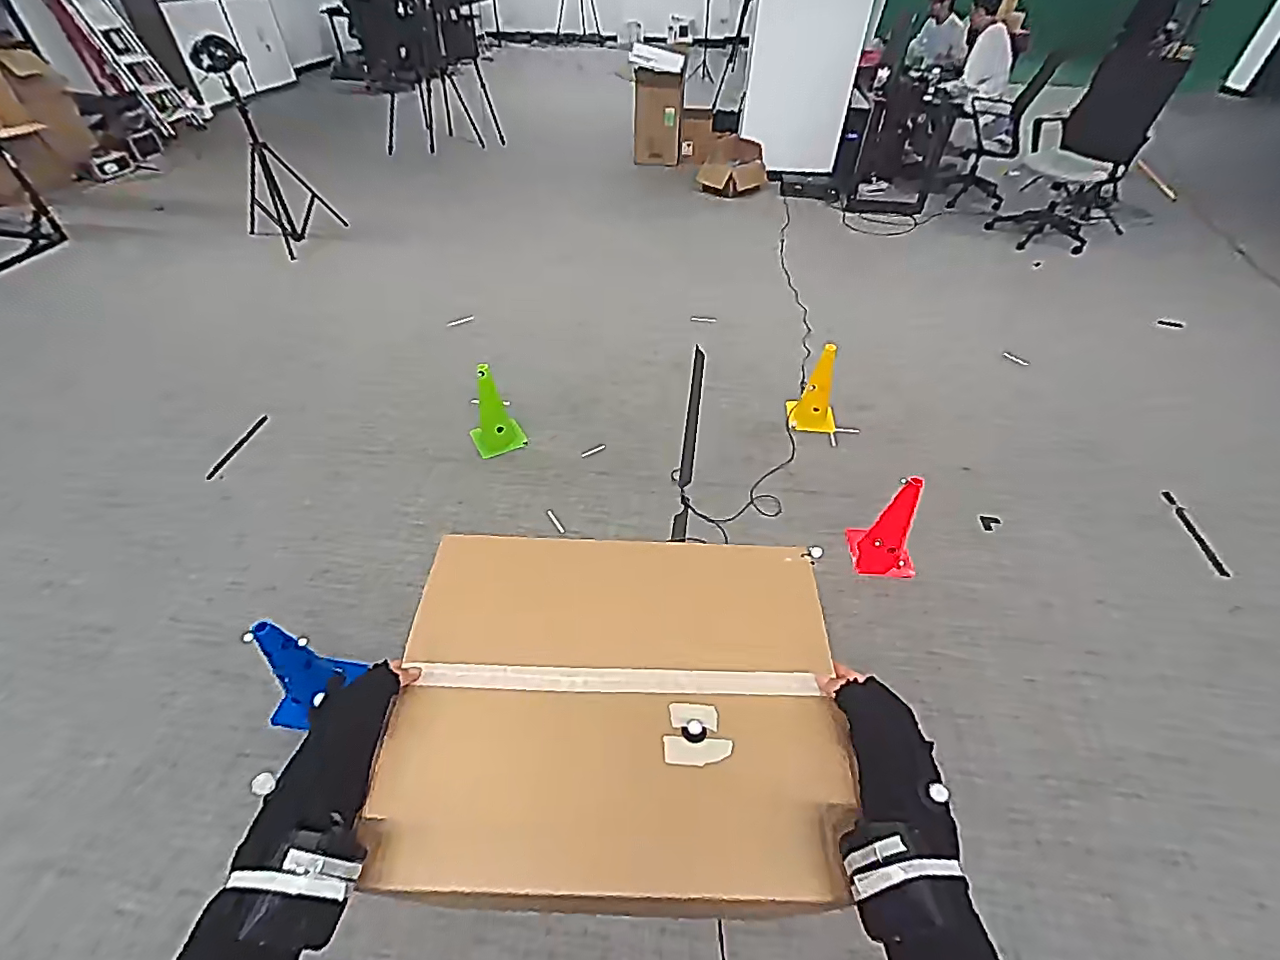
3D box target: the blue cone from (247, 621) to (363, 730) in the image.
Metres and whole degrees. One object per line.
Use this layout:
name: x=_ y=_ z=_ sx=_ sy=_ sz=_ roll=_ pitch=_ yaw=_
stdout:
blue cone: x=-0.889 y=0.475 z=1.390 sx=0.192 sy=0.380 sz=0.193 roll=7 pitch=45 yaw=8

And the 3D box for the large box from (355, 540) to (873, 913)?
large box: x=-0.024 y=0.287 z=0.616 sx=0.408 sy=0.320 sz=0.320 roll=3 pitch=49 yaw=-1

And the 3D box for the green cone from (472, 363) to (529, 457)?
green cone: x=-0.590 y=-0.306 z=2.153 sx=0.202 sy=0.368 sz=0.200 roll=-23 pitch=49 yaw=-20

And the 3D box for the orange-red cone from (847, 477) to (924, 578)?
orange-red cone: x=0.829 y=0.127 z=1.748 sx=0.198 sy=0.360 sz=0.199 roll=5 pitch=44 yaw=2
